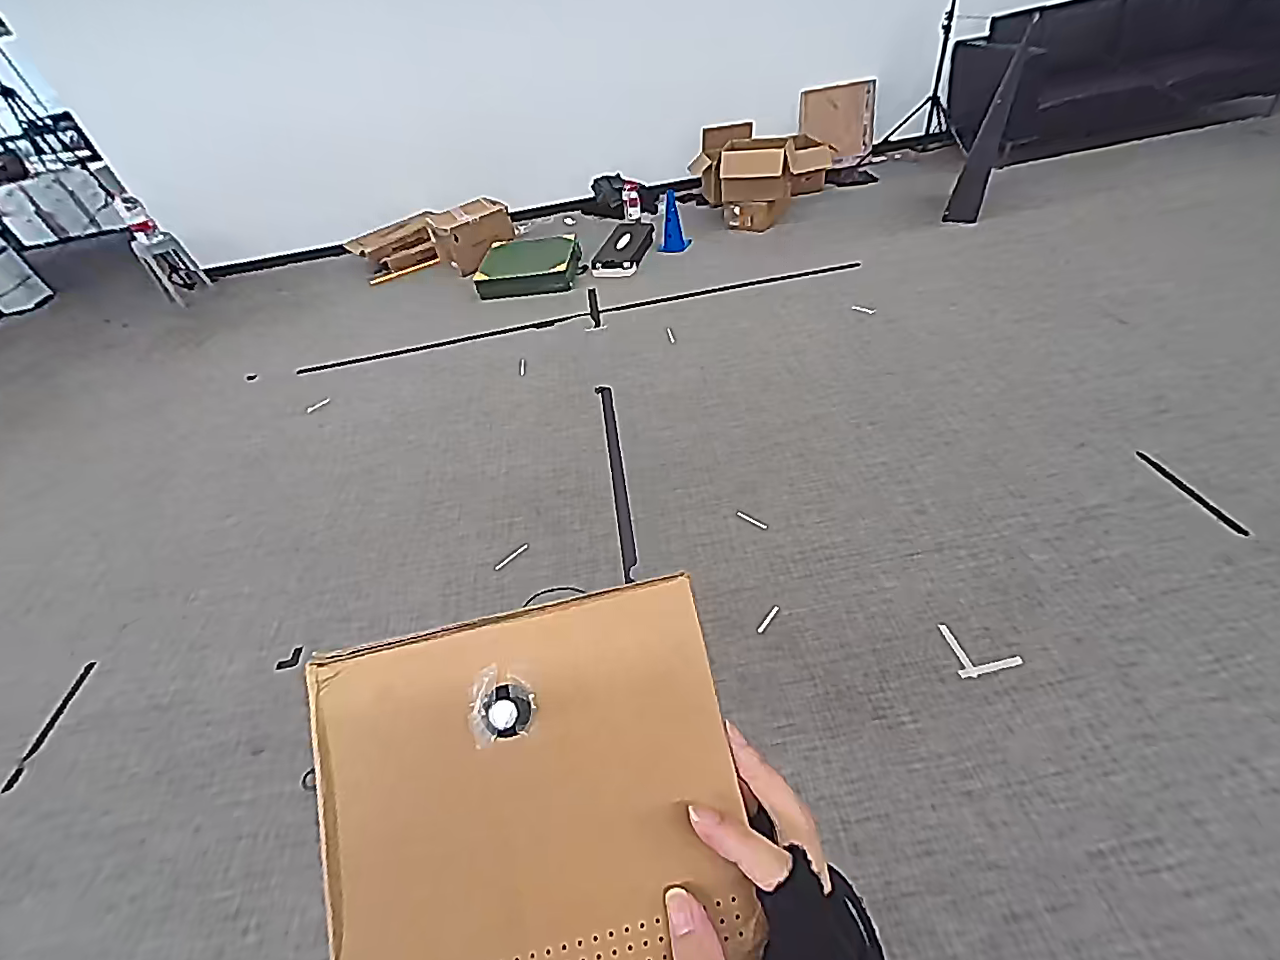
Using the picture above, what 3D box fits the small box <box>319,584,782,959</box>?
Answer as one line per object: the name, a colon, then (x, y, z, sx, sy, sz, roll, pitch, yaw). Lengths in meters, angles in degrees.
small box: (-0.043, 0.164, 0.304, 0.179, 0.168, 0.176, -12, 78, -4)
